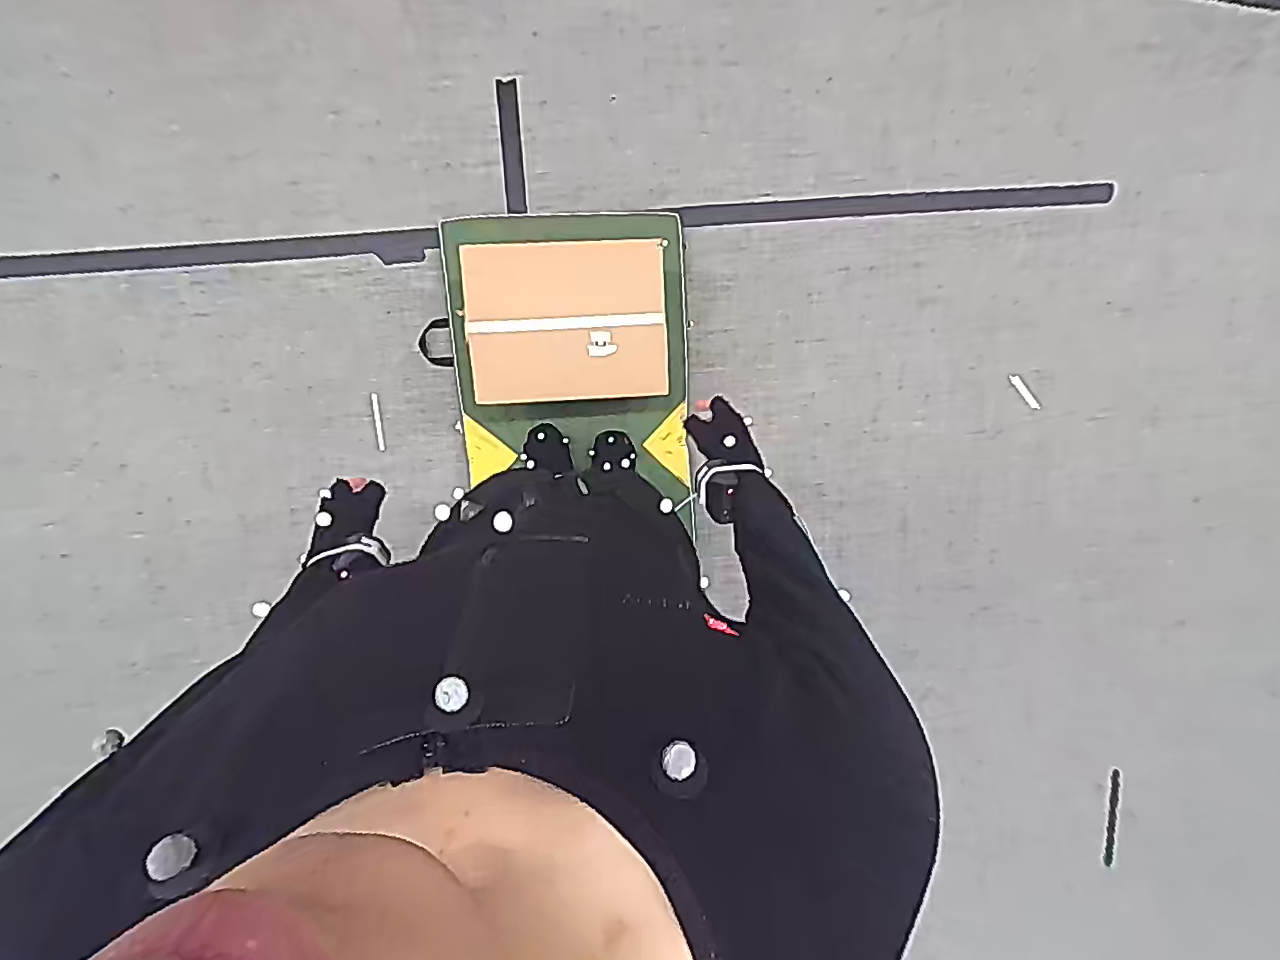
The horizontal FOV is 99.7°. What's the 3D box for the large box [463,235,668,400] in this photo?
[{"bbox_3d":[-0.161,-0.359,1.260,0.408,0.320,0.320,-4,101,-5],"label":"large box"}]
